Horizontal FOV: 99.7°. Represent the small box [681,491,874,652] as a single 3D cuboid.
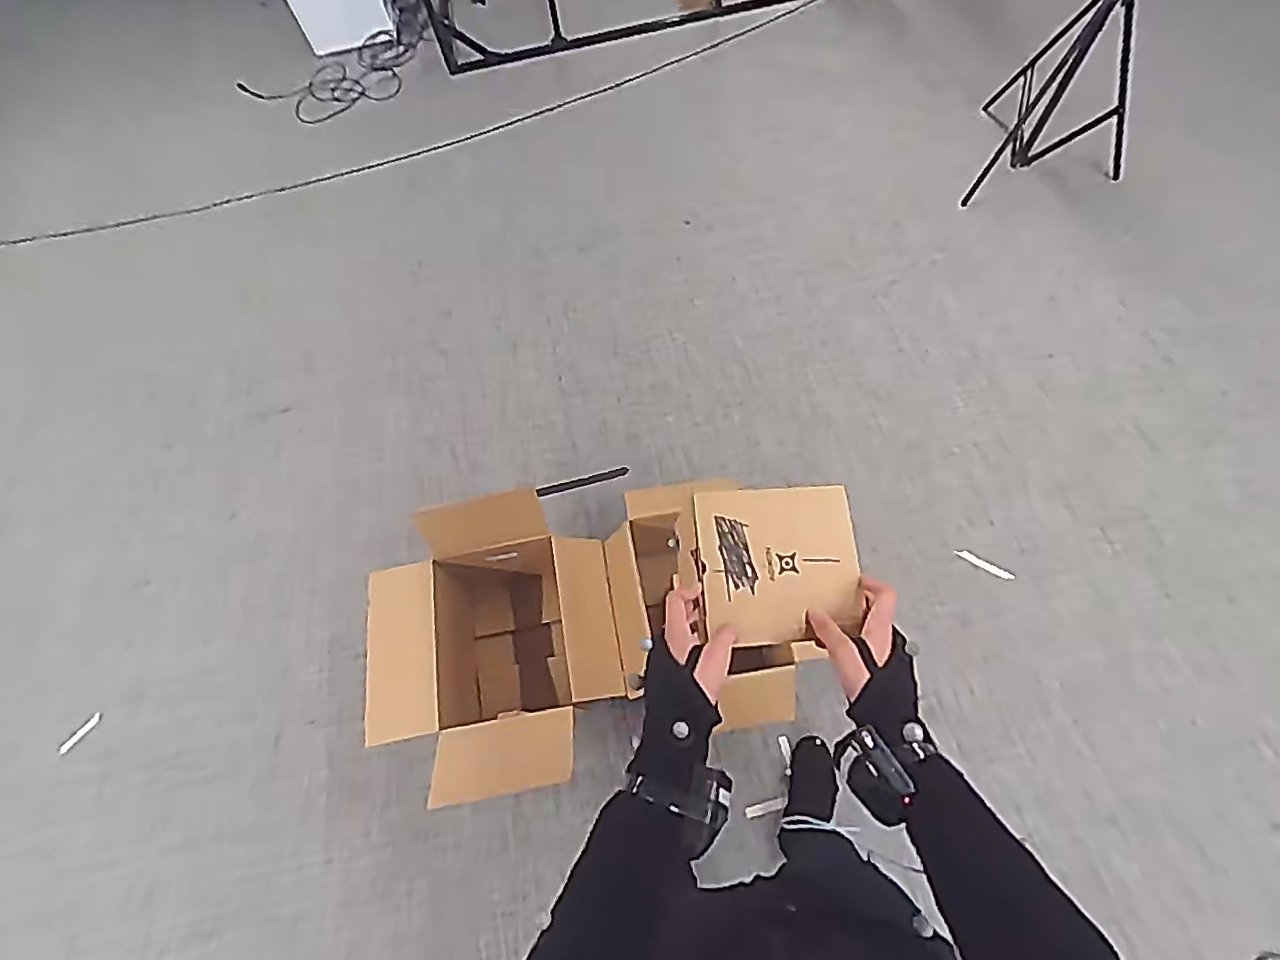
[{"bbox_3d":[0.145,0.115,0.643,0.179,0.176,0.168,-2,74,-4],"label":"small box"}]
